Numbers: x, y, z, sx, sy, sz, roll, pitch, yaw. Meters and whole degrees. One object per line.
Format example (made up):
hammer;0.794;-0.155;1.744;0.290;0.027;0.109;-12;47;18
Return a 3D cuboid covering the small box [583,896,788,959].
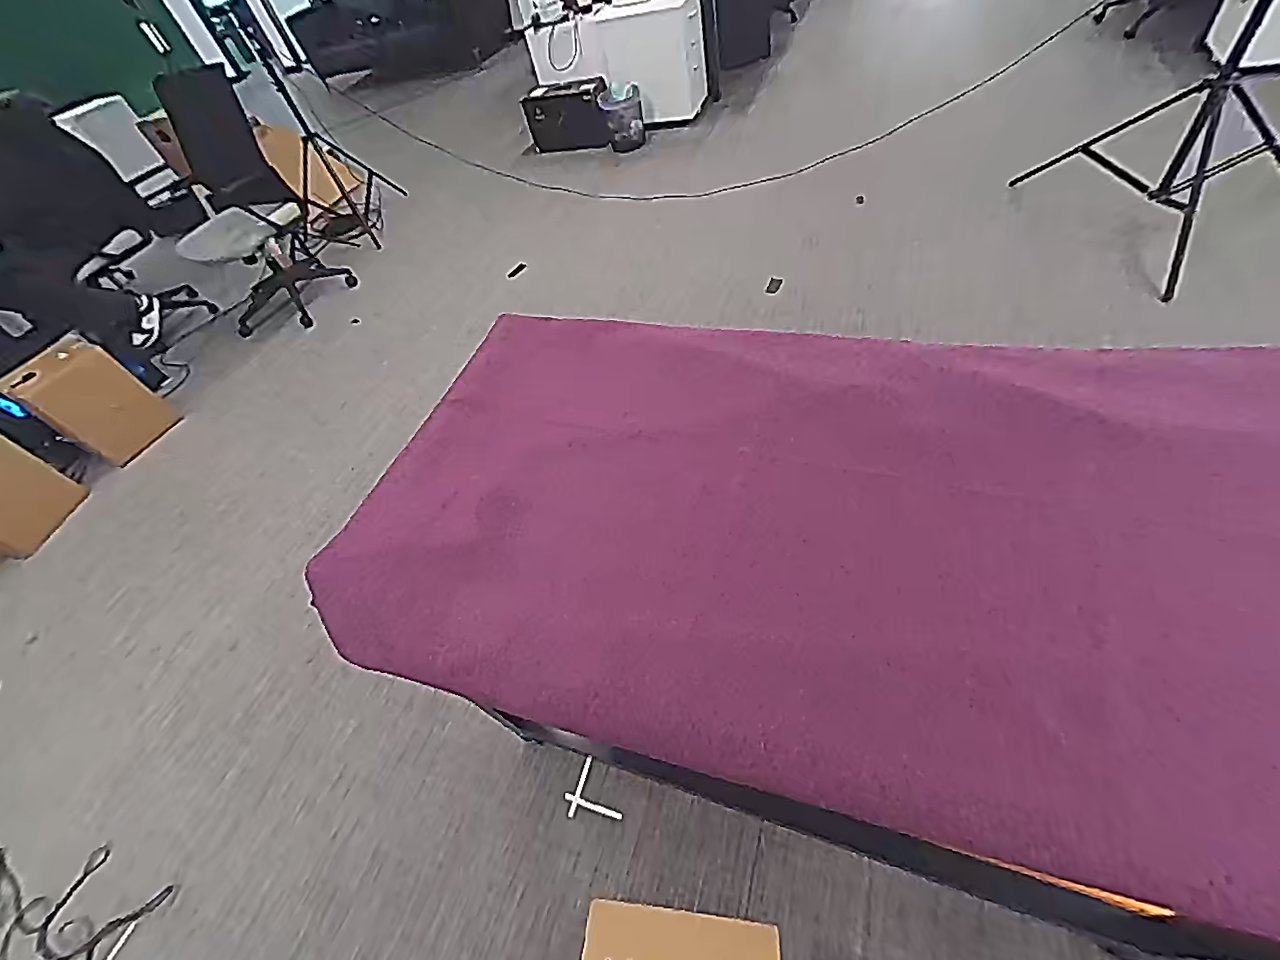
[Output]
small box;0.034;0.502;0.461;0.179;0.176;0.168;2;28;9
